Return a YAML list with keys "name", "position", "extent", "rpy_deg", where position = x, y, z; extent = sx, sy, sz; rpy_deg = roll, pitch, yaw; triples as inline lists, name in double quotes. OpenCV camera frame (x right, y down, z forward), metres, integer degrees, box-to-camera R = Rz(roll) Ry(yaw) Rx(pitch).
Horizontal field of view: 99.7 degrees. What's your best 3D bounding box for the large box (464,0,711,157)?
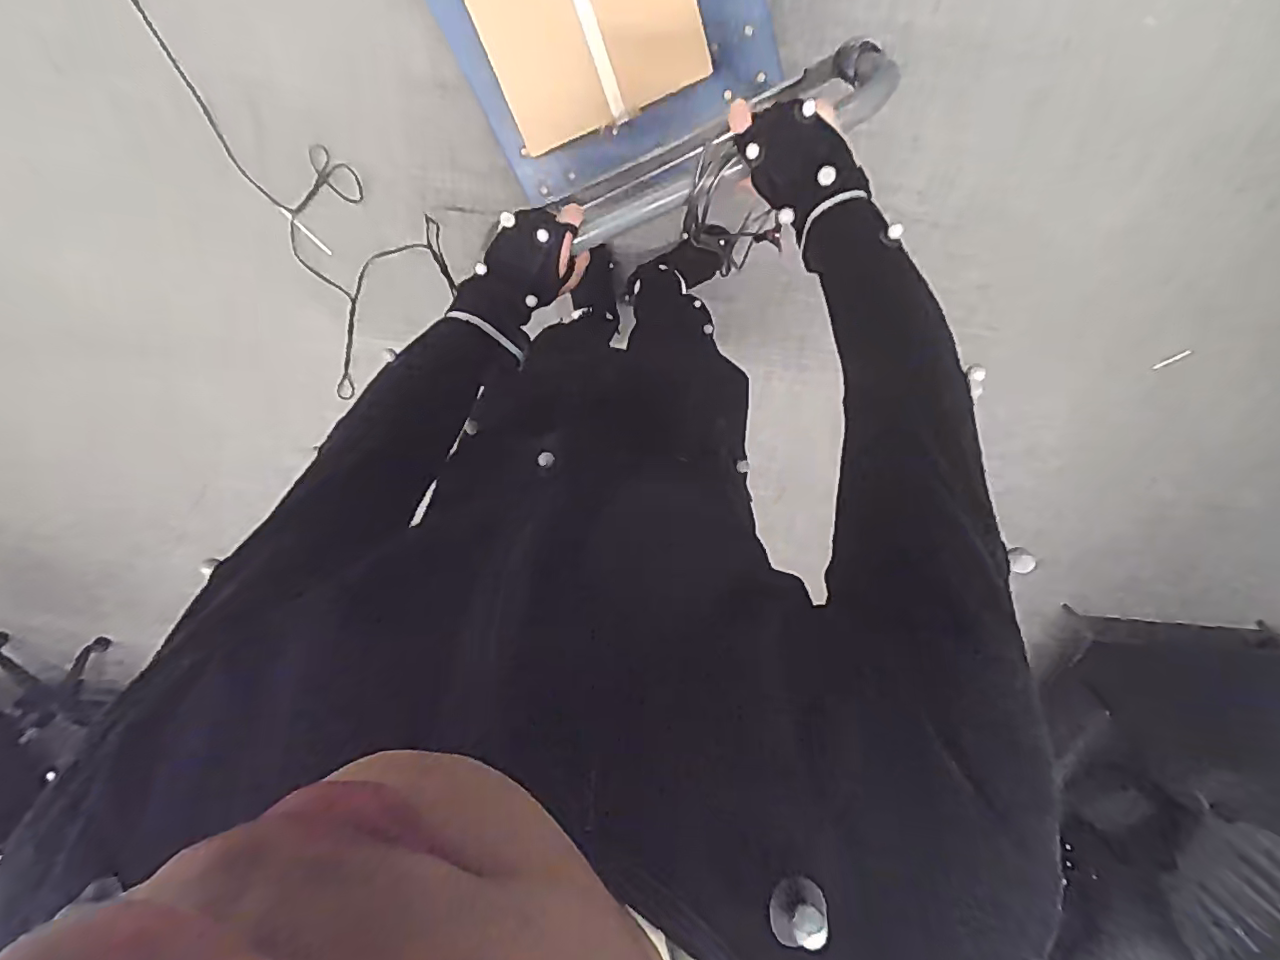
- name: "large box"
  position: [-0.102, -0.799, 0.865]
  extent: [0.320, 0.320, 0.408]
  rpy_deg: [-18, 121, 11]
